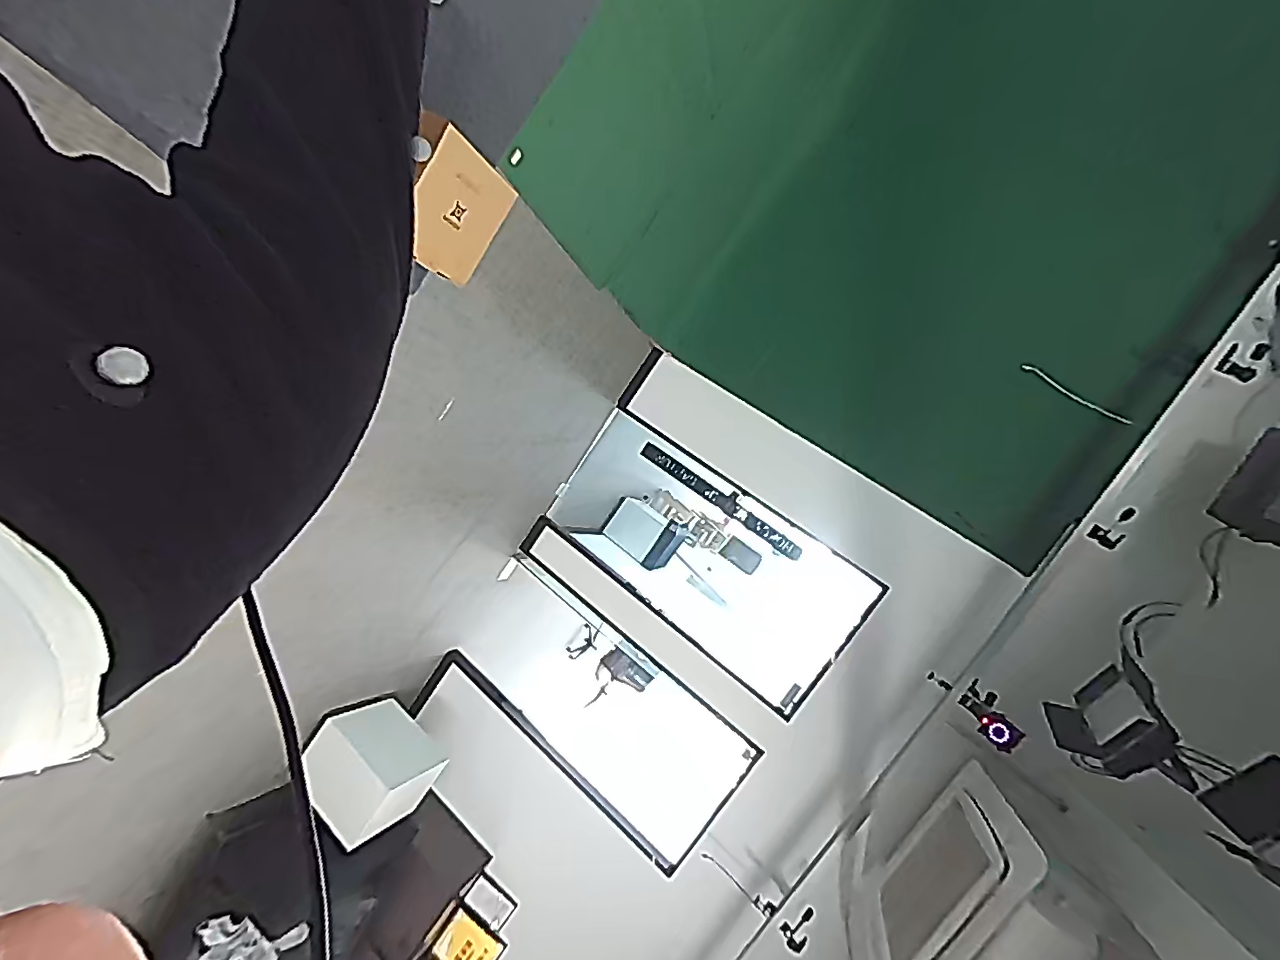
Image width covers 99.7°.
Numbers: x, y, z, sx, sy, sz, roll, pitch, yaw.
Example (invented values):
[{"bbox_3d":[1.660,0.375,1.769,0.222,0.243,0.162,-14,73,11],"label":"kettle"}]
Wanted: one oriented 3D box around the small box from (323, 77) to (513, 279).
[{"bbox_3d":[-0.335,-0.447,0.812,0.179,0.176,0.168,-56,162,7],"label":"small box"}]
